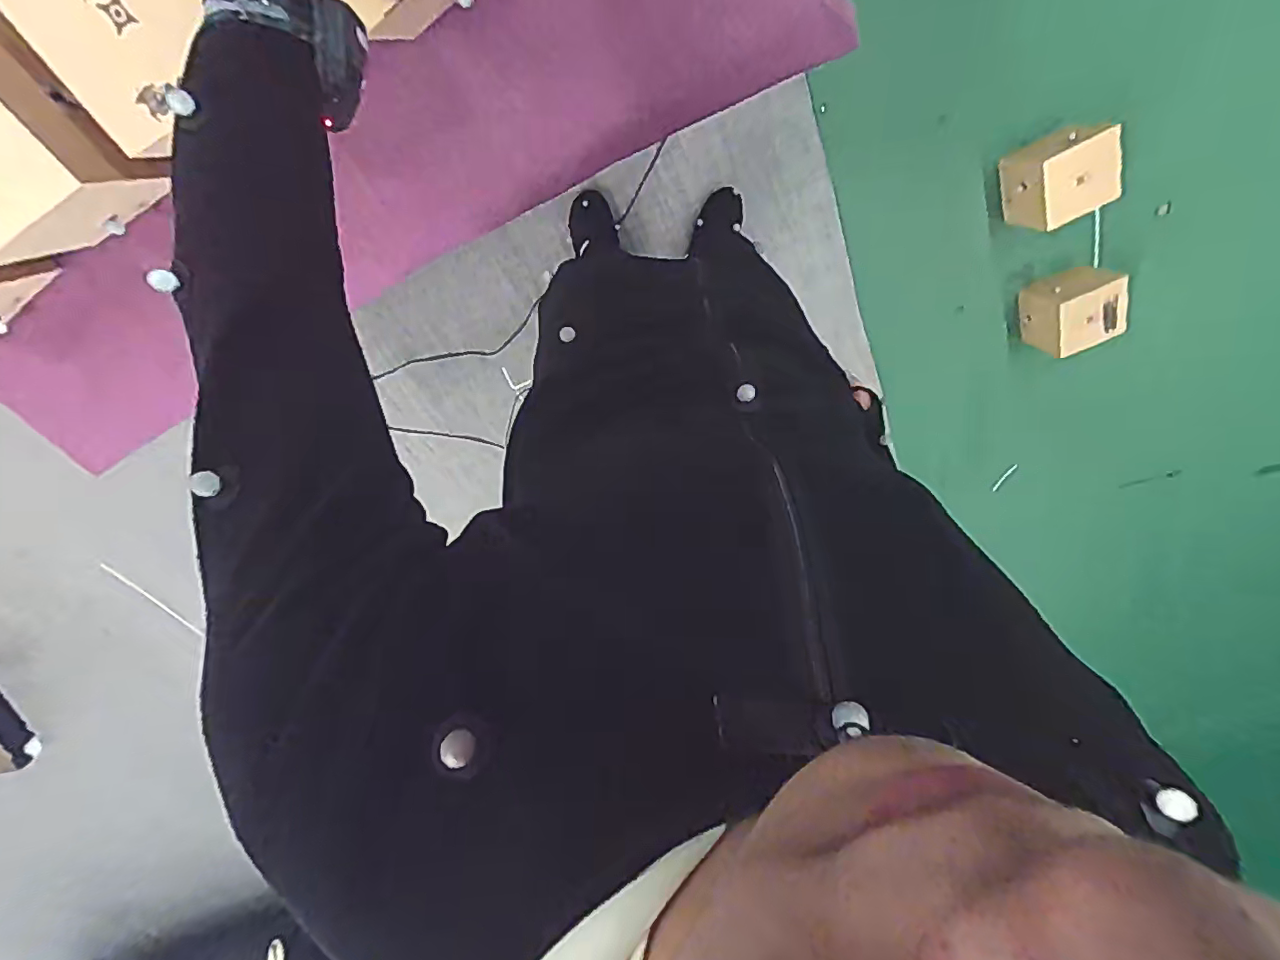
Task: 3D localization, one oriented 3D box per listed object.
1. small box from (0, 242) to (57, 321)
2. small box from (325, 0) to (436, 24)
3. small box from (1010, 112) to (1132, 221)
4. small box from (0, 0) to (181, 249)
[{"bbox_3d":[-0.848,-0.259,0.603,0.168,0.176,0.179,-29,121,14],"label":"small box"},{"bbox_3d":[-0.223,-0.519,0.443,0.168,0.176,0.179,-25,128,17],"label":"small box"},{"bbox_3d":[1.031,-0.754,1.308,0.179,0.176,0.168,-25,121,10],"label":"small box"},{"bbox_3d":[-0.650,-0.360,0.555,0.168,0.176,0.179,-25,122,11],"label":"small box"}]
